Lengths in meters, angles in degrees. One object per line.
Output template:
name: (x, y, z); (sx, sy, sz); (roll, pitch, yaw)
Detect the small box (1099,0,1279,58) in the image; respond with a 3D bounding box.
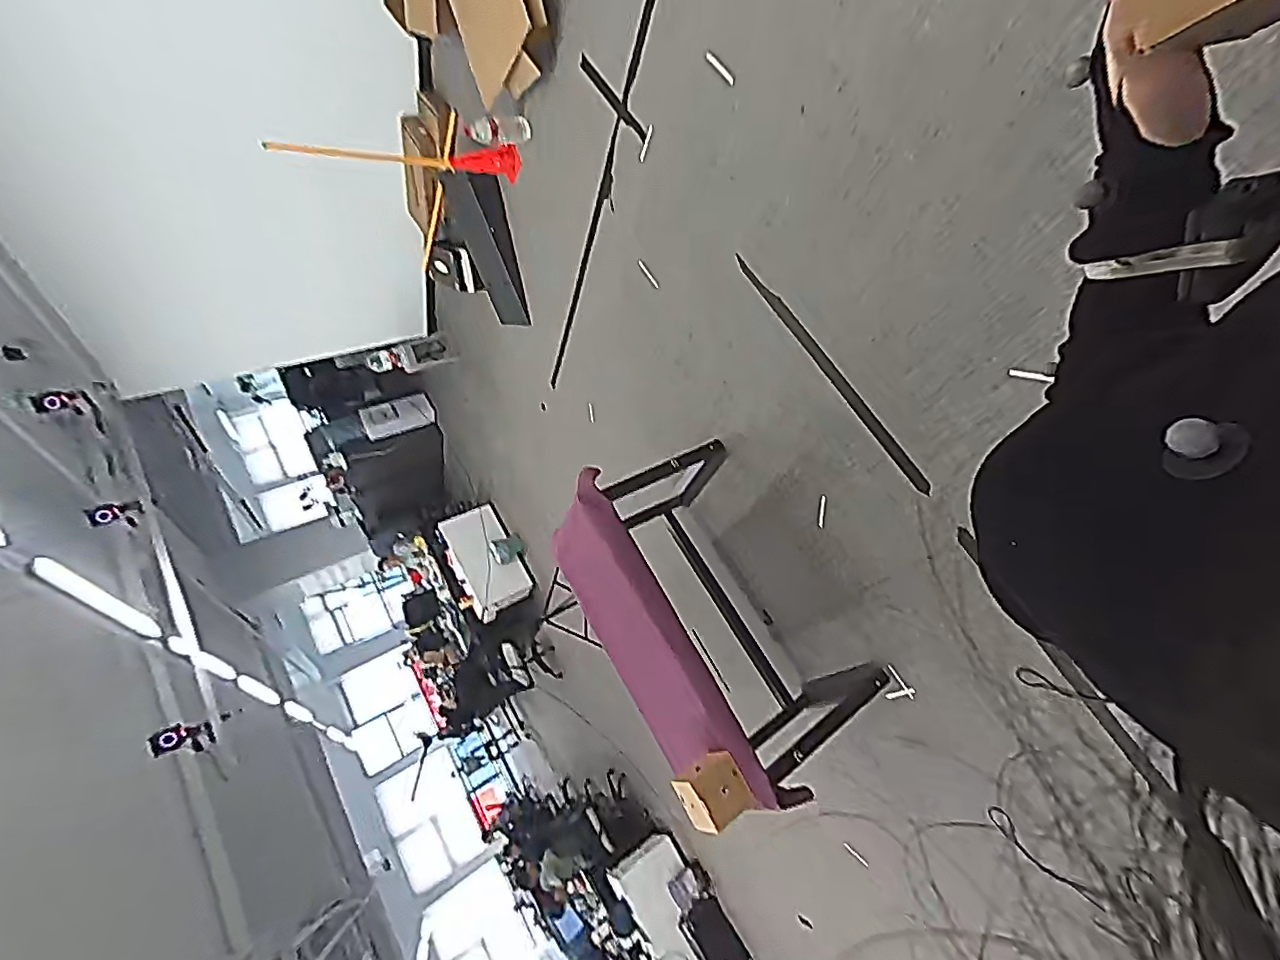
small box: (0.294, -0.309, 0.203); (0.168, 0.176, 0.179); (-3, 111, 60)

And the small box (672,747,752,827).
small box: (0.238, 0.994, 1.764); (0.168, 0.176, 0.179); (59, 150, 15)
